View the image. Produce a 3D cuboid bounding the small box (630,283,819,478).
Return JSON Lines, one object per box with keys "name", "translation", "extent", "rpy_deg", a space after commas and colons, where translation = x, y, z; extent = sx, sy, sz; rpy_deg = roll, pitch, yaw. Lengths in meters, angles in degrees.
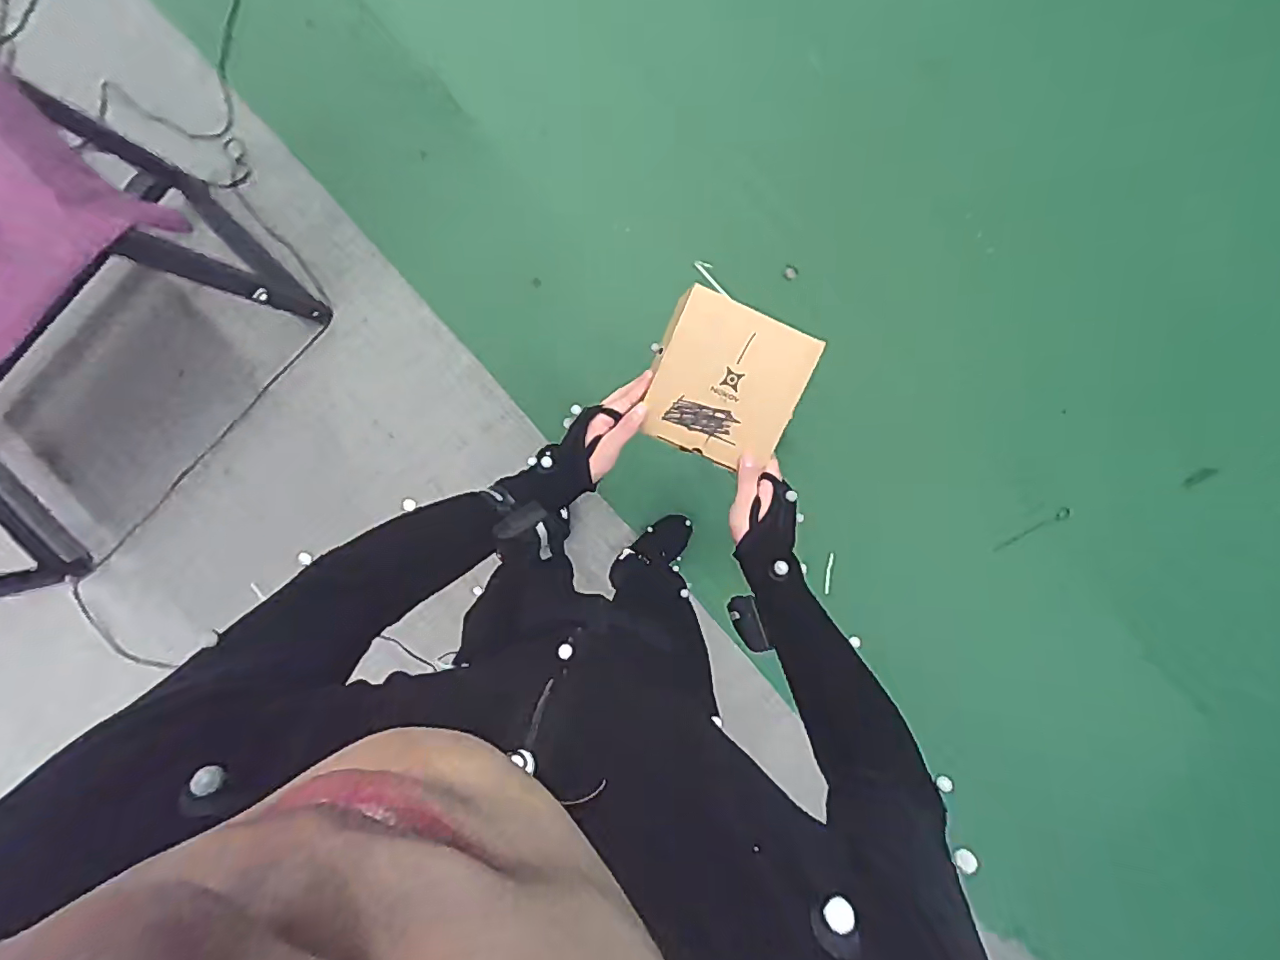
{"name": "small box", "translation": [0.094, -0.125, 0.690], "extent": [0.168, 0.176, 0.179], "rpy_deg": [21, 101, -7]}
